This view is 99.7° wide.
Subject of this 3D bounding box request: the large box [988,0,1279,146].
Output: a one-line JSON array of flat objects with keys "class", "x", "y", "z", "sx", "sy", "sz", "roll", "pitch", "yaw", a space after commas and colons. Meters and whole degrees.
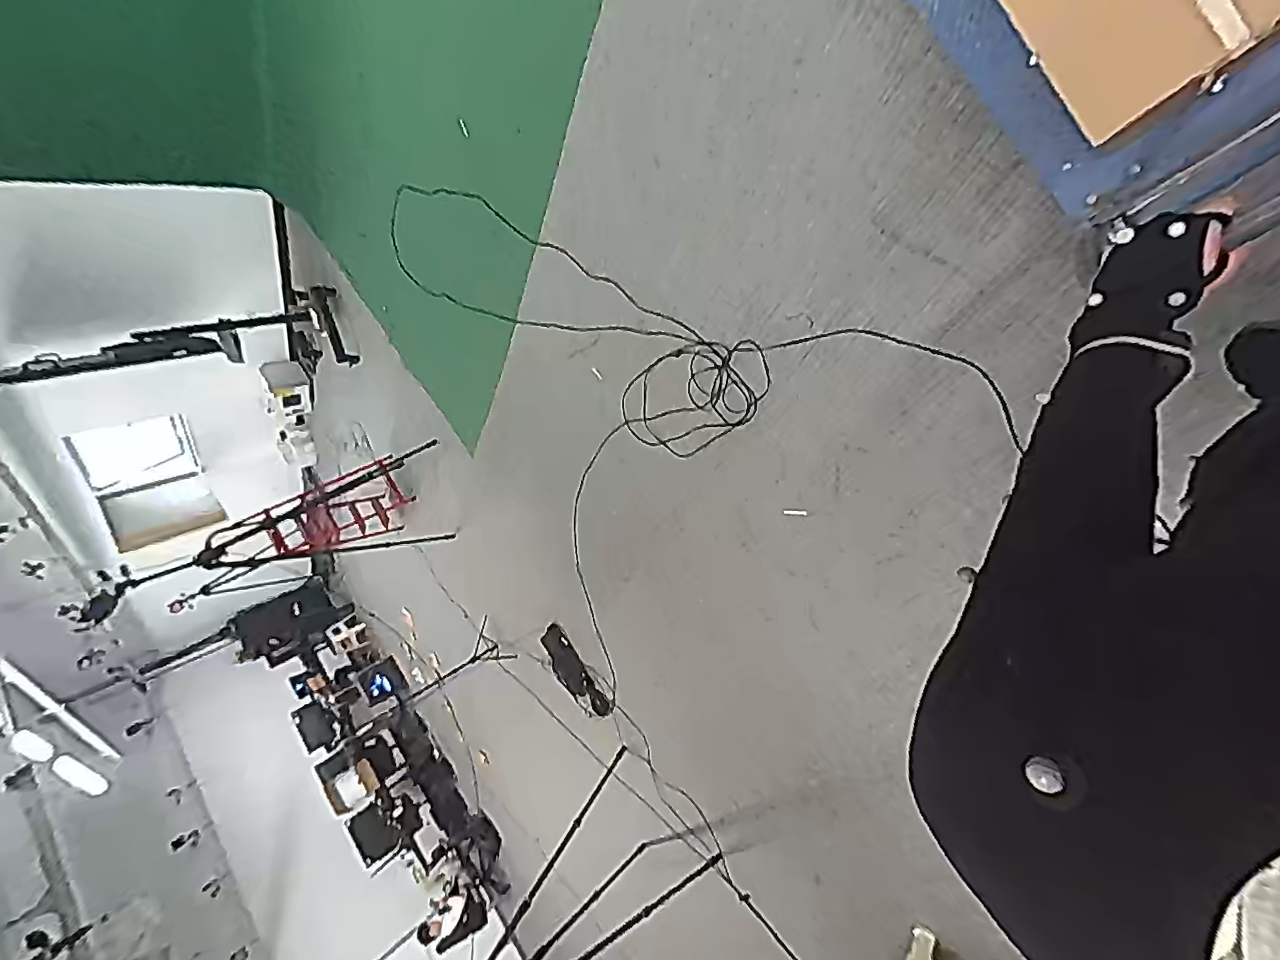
[{"class": "large box", "x": 0.745, "y": -0.773, "z": 0.786, "sx": 0.320, "sy": 0.320, "sz": 0.408, "roll": -34, "pitch": 86, "yaw": 49}]
